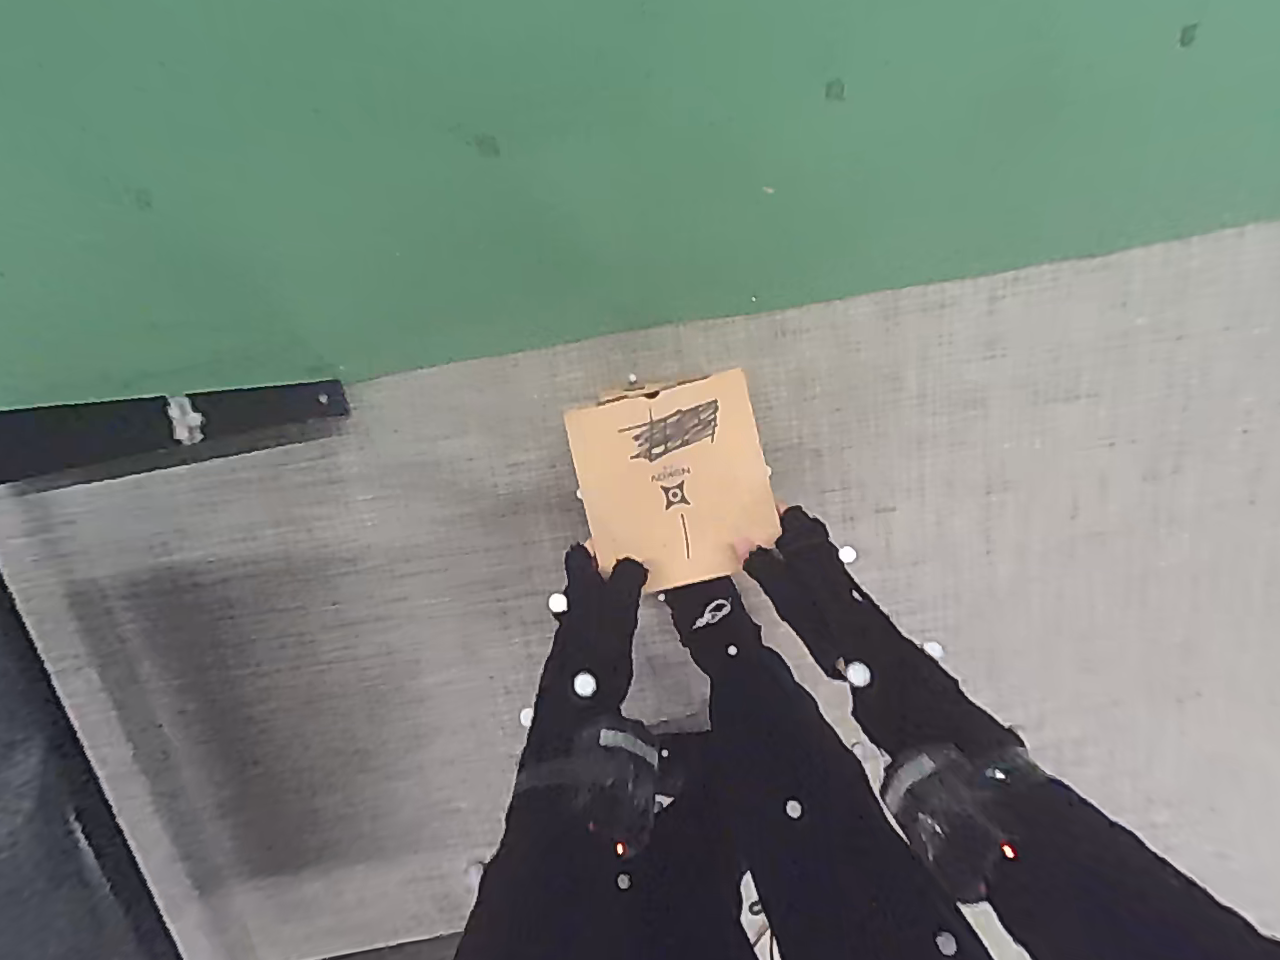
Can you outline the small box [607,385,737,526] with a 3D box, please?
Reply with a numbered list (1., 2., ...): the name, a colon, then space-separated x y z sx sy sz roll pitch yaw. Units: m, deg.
1. small box: 0.043 -0.045 0.794 0.168 0.176 0.179 -6 103 2
